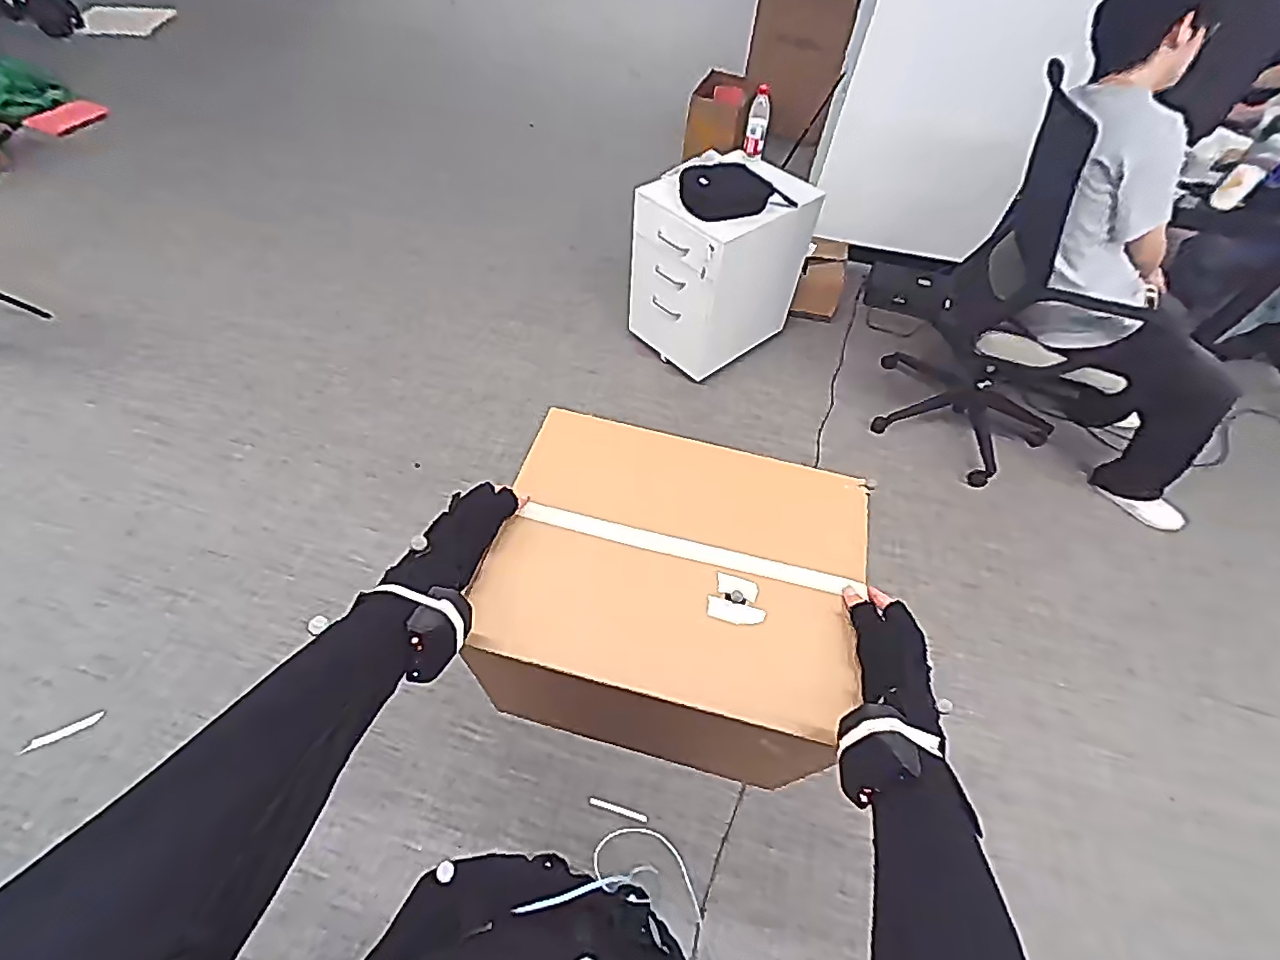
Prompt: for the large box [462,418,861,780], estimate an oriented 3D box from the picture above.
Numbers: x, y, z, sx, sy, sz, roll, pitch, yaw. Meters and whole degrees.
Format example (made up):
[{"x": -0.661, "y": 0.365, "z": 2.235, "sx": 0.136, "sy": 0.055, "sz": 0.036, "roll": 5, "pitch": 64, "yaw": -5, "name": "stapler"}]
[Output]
[{"x": 0.035, "y": 0.166, "z": 0.725, "sx": 0.408, "sy": 0.320, "sz": 0.320, "roll": 14, "pitch": 56, "yaw": 5, "name": "large box"}]
